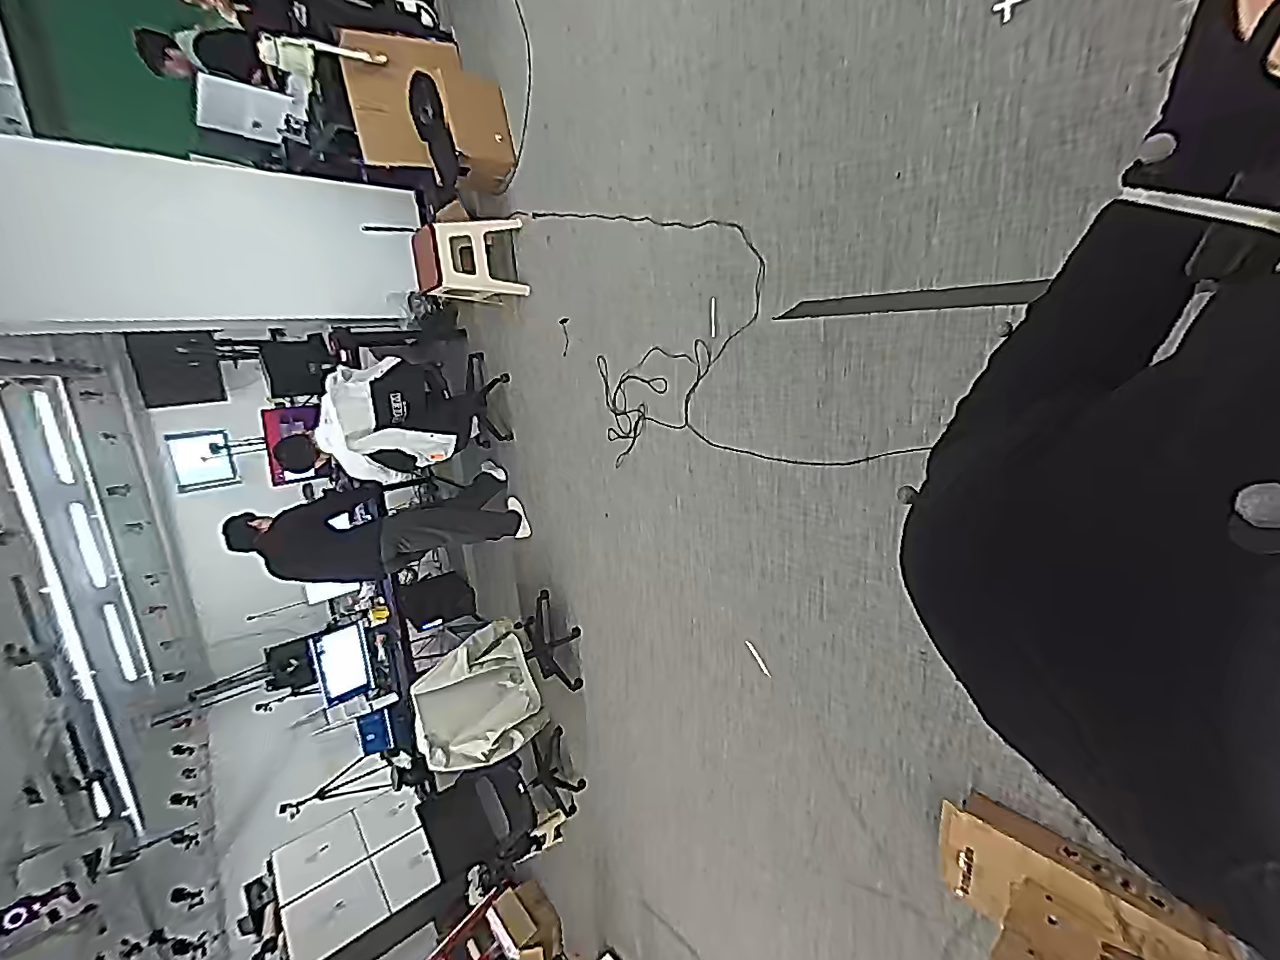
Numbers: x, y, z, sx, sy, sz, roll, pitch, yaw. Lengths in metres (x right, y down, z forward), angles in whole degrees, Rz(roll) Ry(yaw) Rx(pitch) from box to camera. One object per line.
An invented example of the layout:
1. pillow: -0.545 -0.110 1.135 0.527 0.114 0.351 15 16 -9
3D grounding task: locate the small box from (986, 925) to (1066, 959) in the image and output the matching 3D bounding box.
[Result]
1. small box: 0.882 1.174 1.211 0.168 0.176 0.179 6 107 50

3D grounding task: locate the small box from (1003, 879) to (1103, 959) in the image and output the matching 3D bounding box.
1. small box: 1.001 1.138 1.317 0.168 0.176 0.179 10 110 50
